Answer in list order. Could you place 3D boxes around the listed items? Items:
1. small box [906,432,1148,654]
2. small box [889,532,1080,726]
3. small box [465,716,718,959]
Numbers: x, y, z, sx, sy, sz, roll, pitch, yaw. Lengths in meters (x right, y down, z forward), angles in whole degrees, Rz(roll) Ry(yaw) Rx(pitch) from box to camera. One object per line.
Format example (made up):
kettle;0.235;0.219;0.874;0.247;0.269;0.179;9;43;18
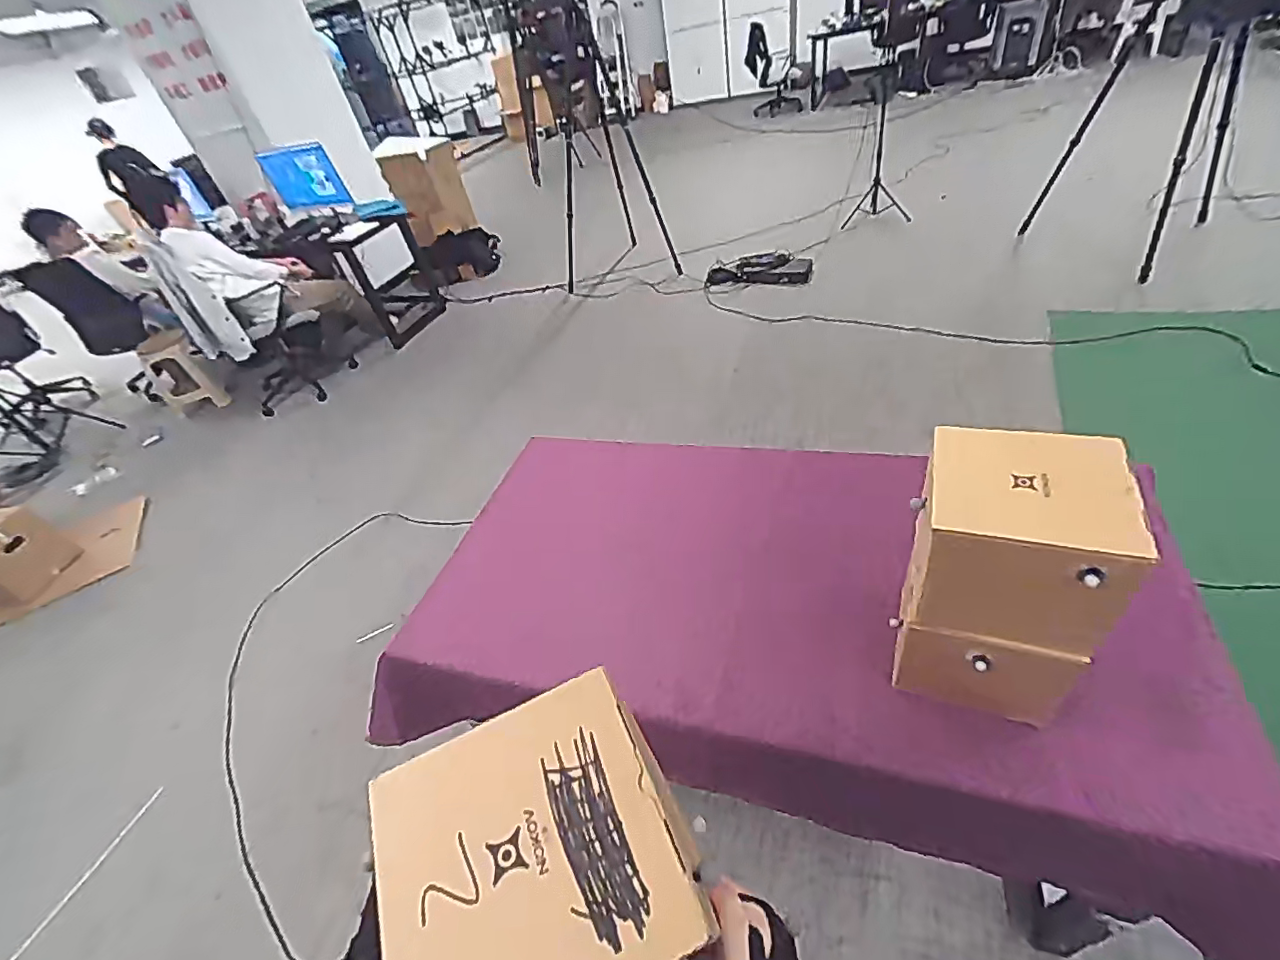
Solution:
small box;0.402;0.067;0.598;0.179;0.176;0.168;8;46;23
small box;0.431;0.189;0.701;0.179;0.176;0.168;10;47;25
small box;-0.038;0.368;0.520;0.179;0.176;0.168;-26;51;-12
